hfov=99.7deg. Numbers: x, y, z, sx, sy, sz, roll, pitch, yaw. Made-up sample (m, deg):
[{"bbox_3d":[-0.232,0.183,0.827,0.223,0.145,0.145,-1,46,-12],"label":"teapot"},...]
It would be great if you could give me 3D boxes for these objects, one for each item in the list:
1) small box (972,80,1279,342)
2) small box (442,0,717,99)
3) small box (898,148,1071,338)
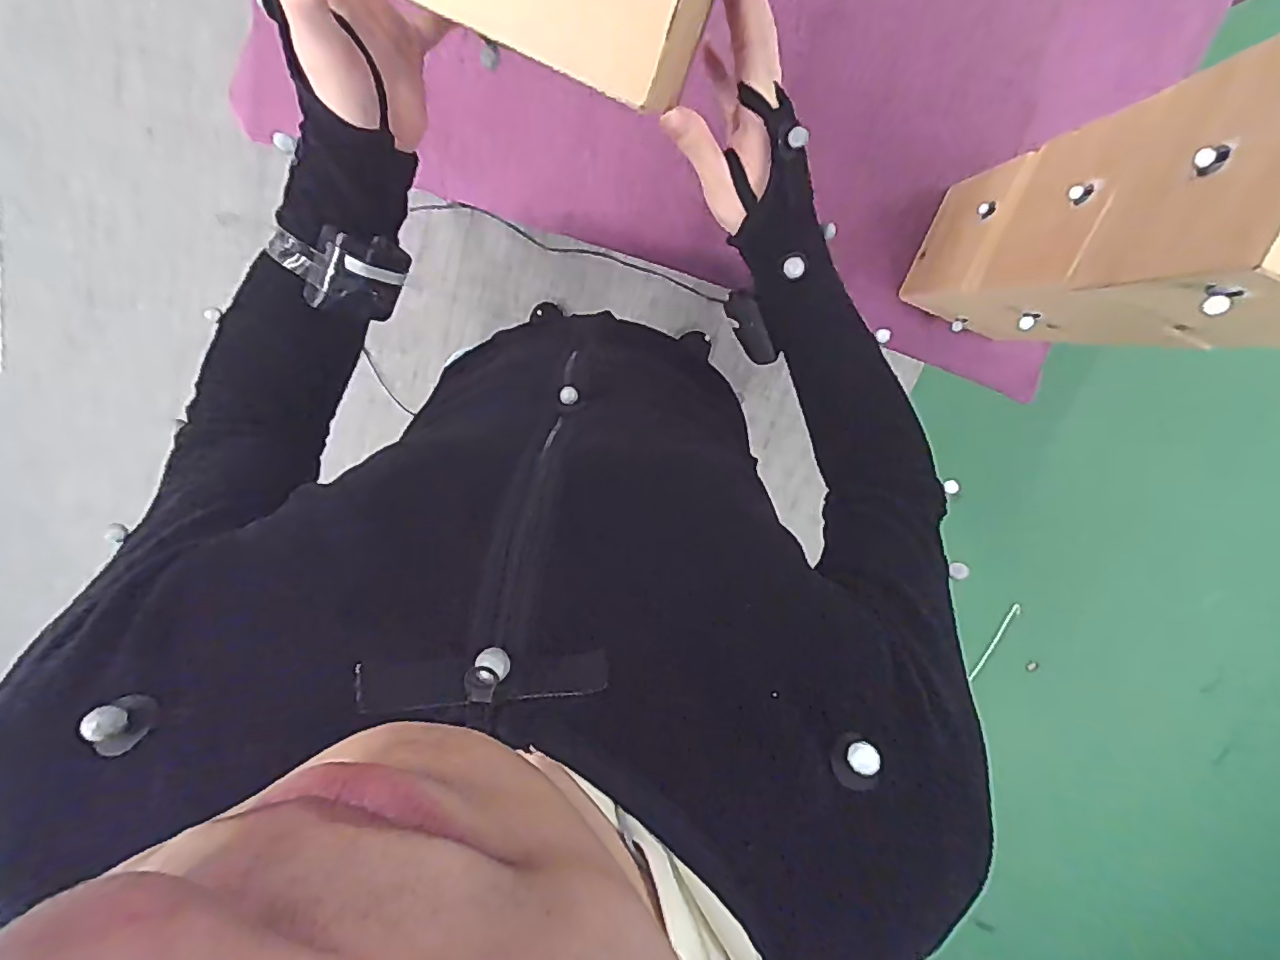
[{"bbox_3d":[0.499,-0.260,0.568,0.168,0.176,0.179,21,105,-5],"label":"small box"},{"bbox_3d":[-0.034,-0.326,0.286,0.179,0.176,0.168,23,125,-6],"label":"small box"},{"bbox_3d":[0.493,-0.304,0.725,0.179,0.176,0.168,20,105,-7],"label":"small box"}]
